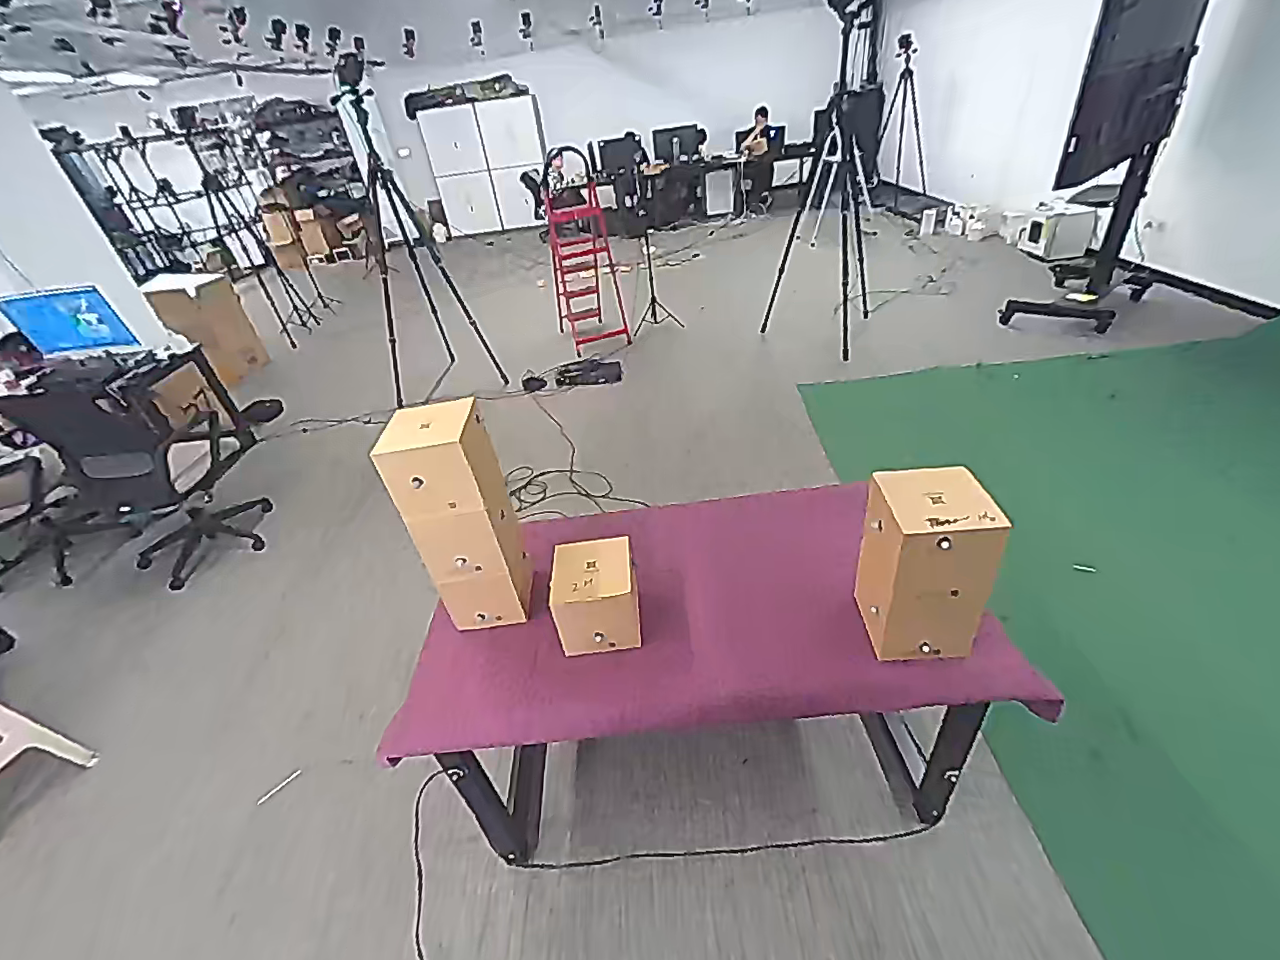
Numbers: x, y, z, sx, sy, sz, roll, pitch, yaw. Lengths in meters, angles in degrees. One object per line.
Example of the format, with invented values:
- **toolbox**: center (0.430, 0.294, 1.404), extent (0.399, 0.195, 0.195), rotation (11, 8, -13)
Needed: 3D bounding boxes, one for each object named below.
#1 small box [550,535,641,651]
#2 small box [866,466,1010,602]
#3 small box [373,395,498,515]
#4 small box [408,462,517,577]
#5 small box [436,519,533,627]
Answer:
- **small box**: center (-0.091, 0.245, 1.175), extent (0.168, 0.176, 0.179), rotation (-7, 36, 2)
- **small box**: center (0.514, 0.096, 0.966), extent (0.168, 0.176, 0.179), rotation (-5, 34, 8)
- **small box**: center (-0.395, -0.045, 1.081), extent (0.168, 0.176, 0.179), rotation (-9, 35, 1)
- **small box**: center (-0.373, 0.085, 1.175), extent (0.168, 0.176, 0.179), rotation (-9, 36, 1)
- **small box**: center (-0.354, 0.217, 1.269), extent (0.168, 0.176, 0.179), rotation (-8, 36, 1)
